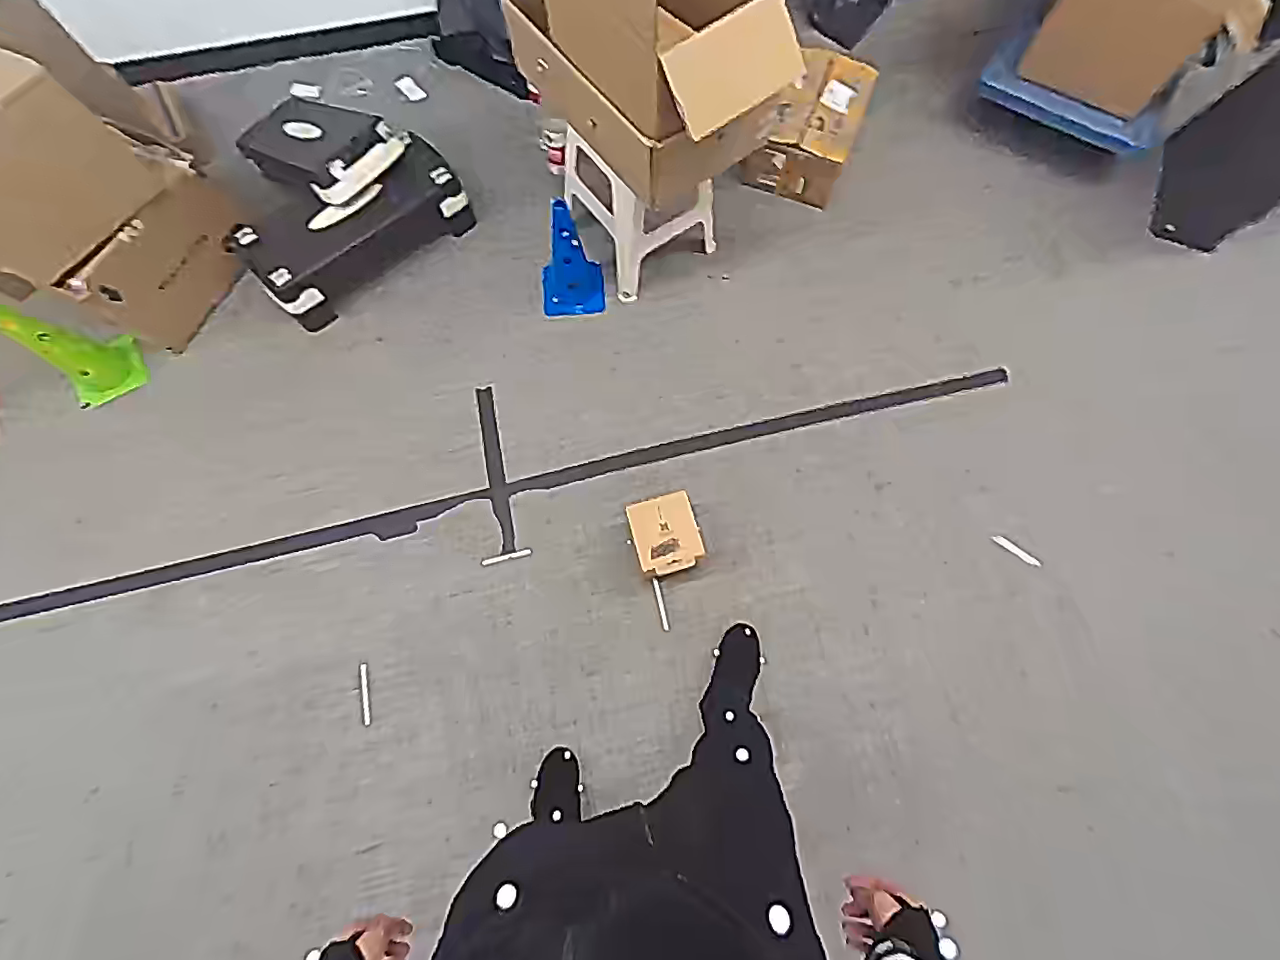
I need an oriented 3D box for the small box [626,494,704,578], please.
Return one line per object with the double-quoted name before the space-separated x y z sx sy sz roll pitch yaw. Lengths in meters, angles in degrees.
"small box" 0.064 0.157 1.444 0.168 0.176 0.179 -14 72 -5
